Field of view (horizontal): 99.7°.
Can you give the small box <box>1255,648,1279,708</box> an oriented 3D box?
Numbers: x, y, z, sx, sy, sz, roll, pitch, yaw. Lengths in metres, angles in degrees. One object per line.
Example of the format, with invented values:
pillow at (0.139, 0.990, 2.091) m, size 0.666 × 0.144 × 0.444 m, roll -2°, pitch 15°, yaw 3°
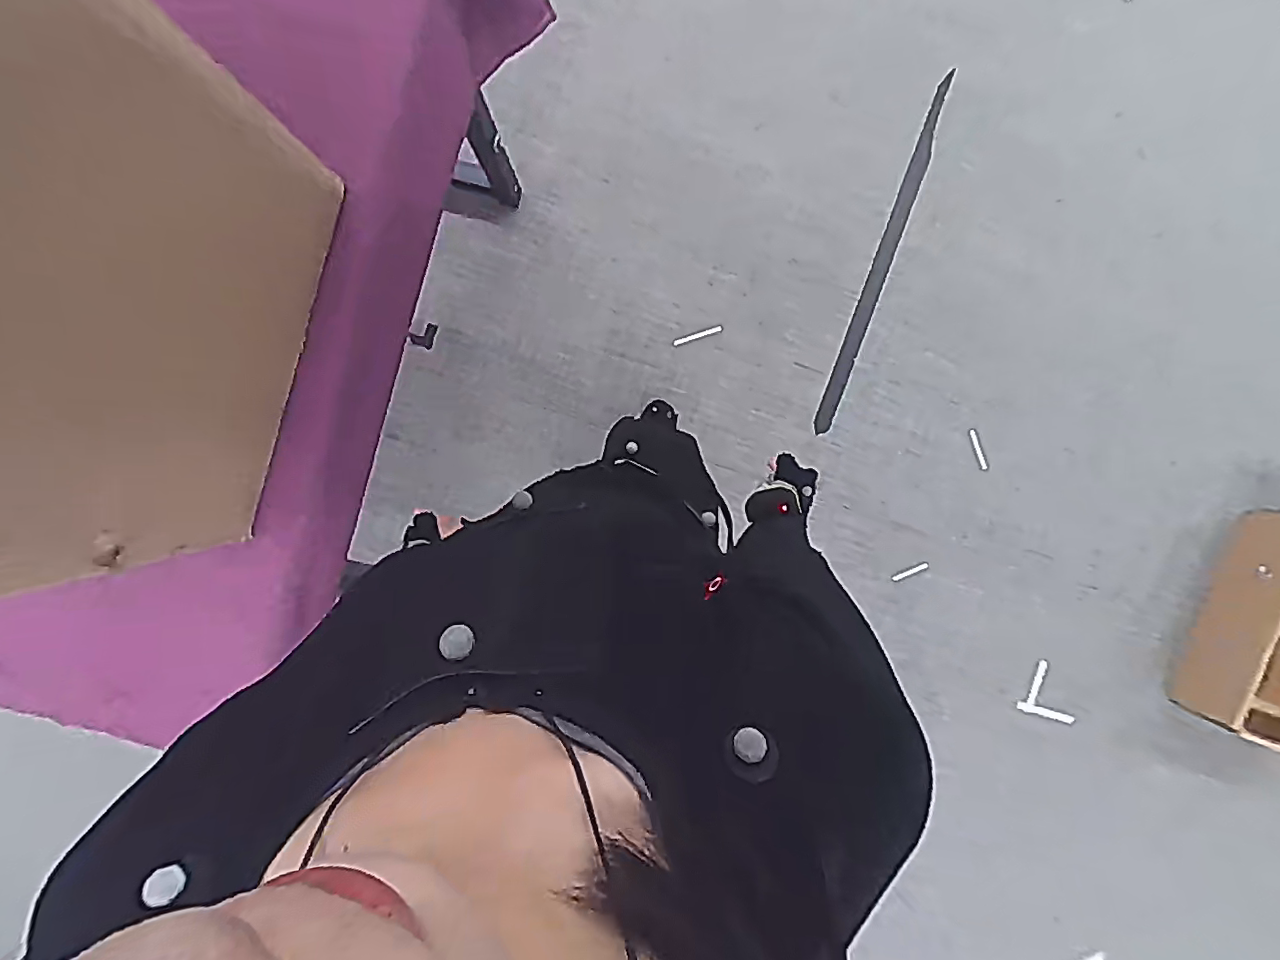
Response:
small box at (1.843, 0.569, 1.454) m, size 0.179 × 0.176 × 0.168 m, roll 22°, pitch 89°, yaw 0°
